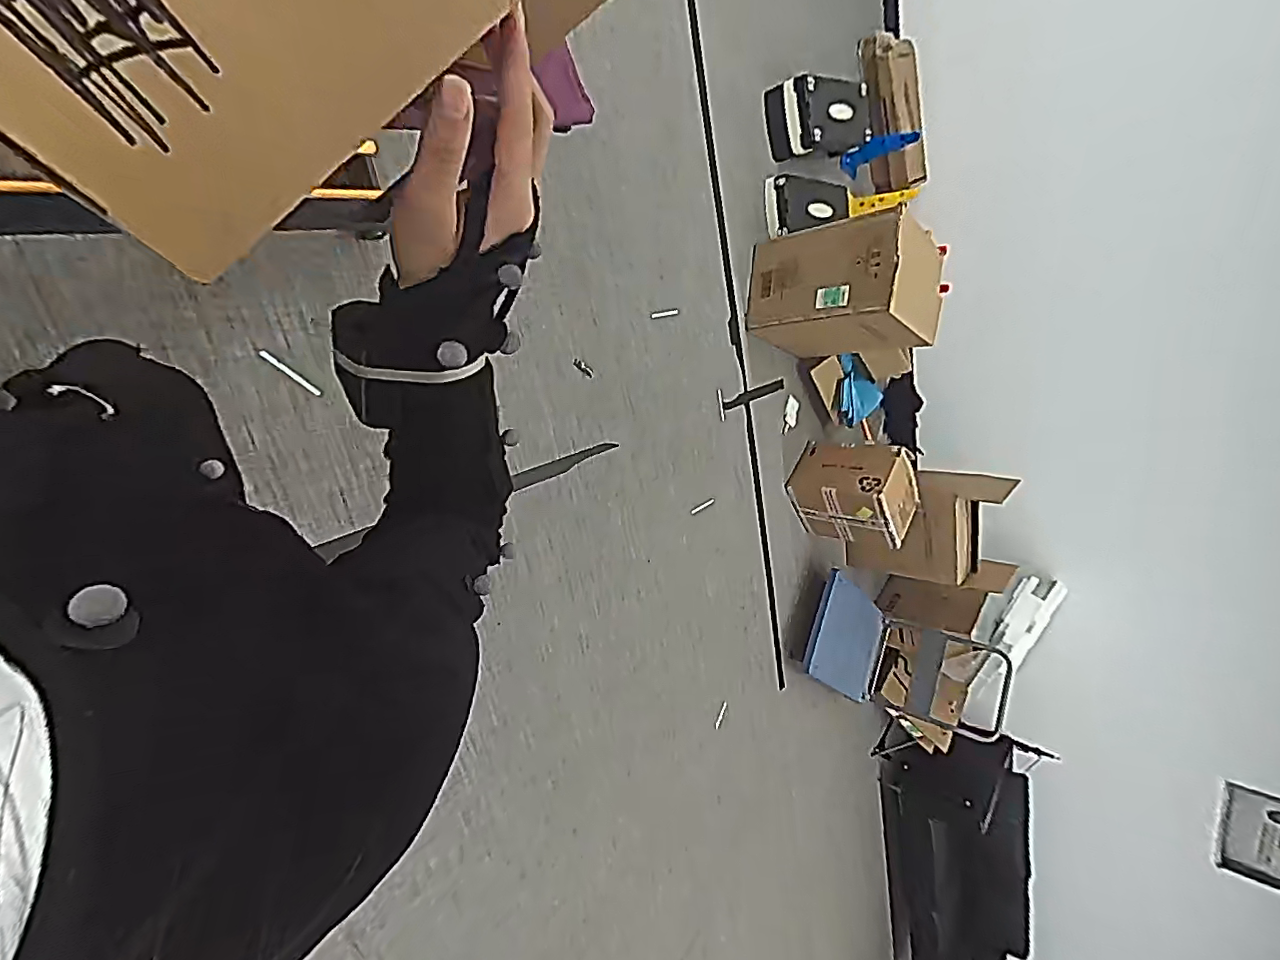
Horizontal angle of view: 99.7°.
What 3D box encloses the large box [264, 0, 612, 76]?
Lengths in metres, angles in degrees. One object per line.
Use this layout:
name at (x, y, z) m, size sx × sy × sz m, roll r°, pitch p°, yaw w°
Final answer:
large box at (-0.198, -0.668, 0.477) m, size 0.320 × 0.320 × 0.408 m, roll -26°, pitch 111°, yaw -42°
